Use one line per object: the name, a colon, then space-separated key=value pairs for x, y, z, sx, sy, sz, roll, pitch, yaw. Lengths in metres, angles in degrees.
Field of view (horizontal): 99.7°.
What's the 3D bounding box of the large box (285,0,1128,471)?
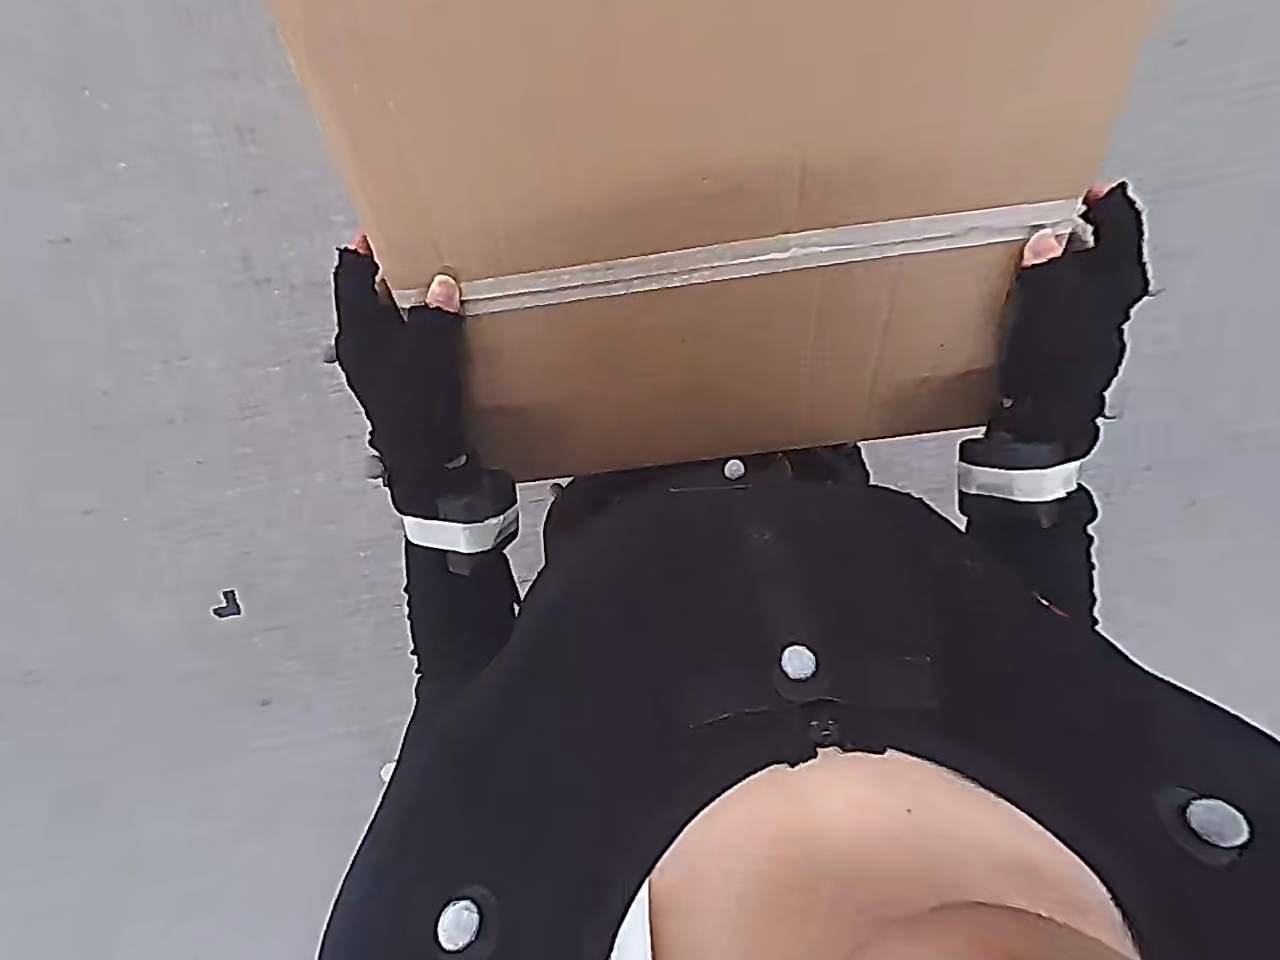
large box: x=0.040 y=-0.243 z=0.442 sx=0.408 sy=0.320 sz=0.320 roll=-7 pitch=134 yaw=1
